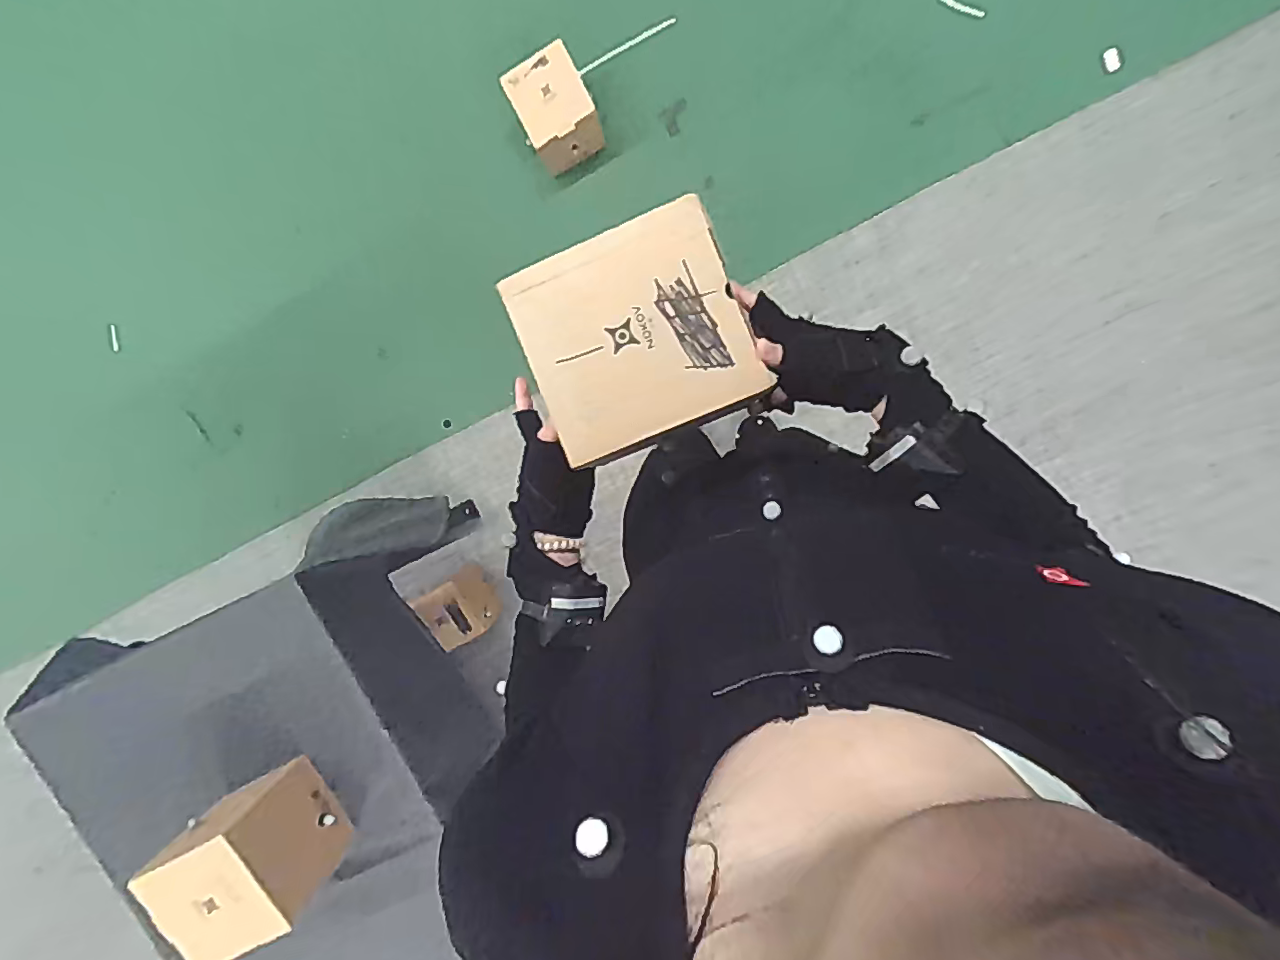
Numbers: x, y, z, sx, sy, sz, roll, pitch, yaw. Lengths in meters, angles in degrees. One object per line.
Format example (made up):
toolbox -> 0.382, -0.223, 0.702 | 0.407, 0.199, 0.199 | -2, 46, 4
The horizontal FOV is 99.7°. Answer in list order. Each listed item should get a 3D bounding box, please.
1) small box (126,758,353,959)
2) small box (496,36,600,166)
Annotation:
small box -> -0.581, 0.563, 0.810 | 0.179, 0.176, 0.168 | -29, 97, 8
small box -> -0.210, -0.885, 1.291 | 0.168, 0.176, 0.179 | -27, 97, 8
